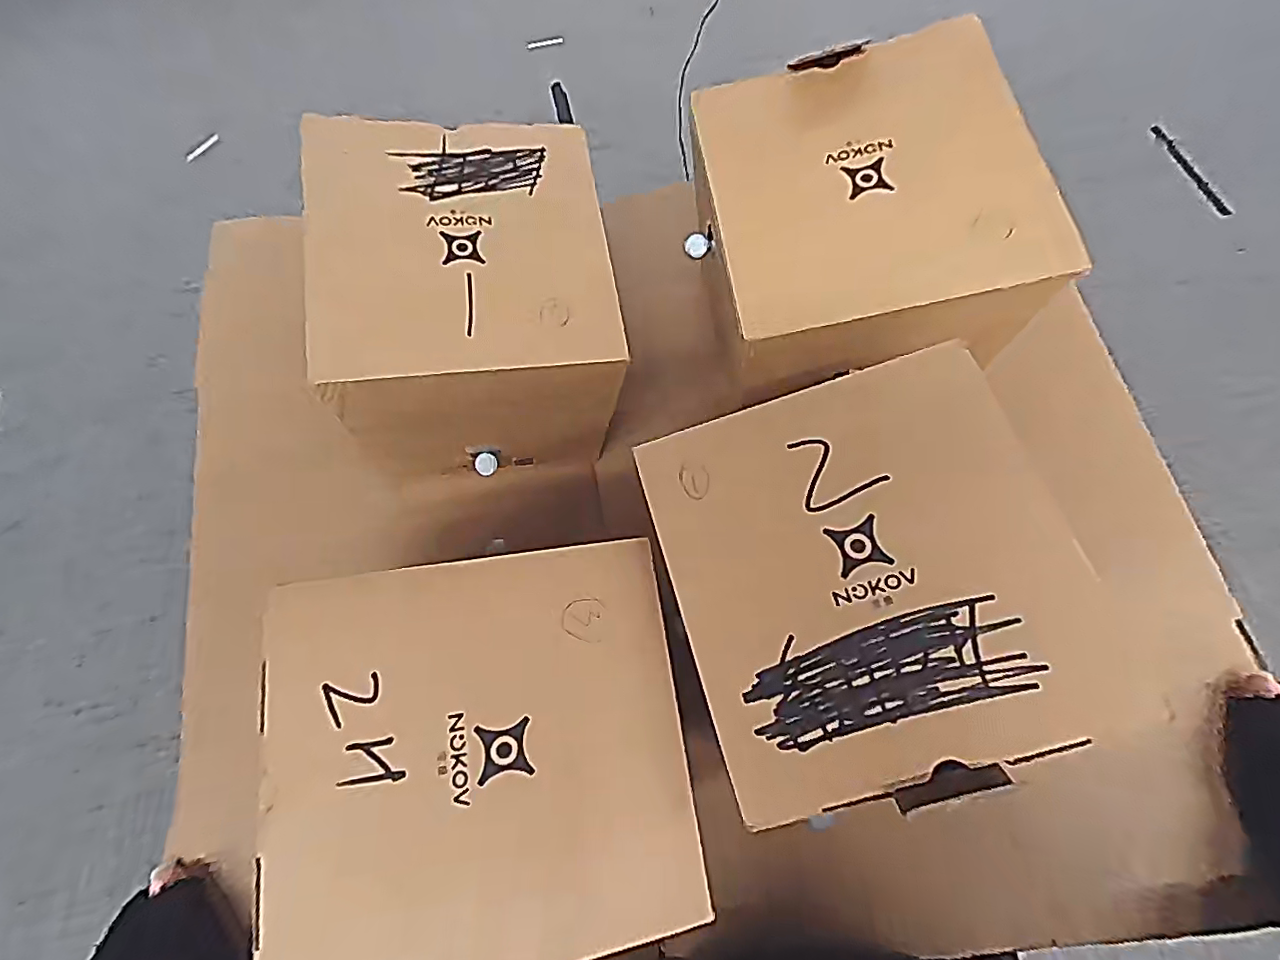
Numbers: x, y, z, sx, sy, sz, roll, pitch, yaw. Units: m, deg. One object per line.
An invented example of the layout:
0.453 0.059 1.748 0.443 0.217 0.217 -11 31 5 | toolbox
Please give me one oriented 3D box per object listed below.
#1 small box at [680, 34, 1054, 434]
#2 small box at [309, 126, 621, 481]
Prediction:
0.130 -0.144 0.378 0.168 0.176 0.179 -11 71 7 | small box
-0.118 -0.113 0.393 0.168 0.176 0.179 -6 72 -13 | small box
